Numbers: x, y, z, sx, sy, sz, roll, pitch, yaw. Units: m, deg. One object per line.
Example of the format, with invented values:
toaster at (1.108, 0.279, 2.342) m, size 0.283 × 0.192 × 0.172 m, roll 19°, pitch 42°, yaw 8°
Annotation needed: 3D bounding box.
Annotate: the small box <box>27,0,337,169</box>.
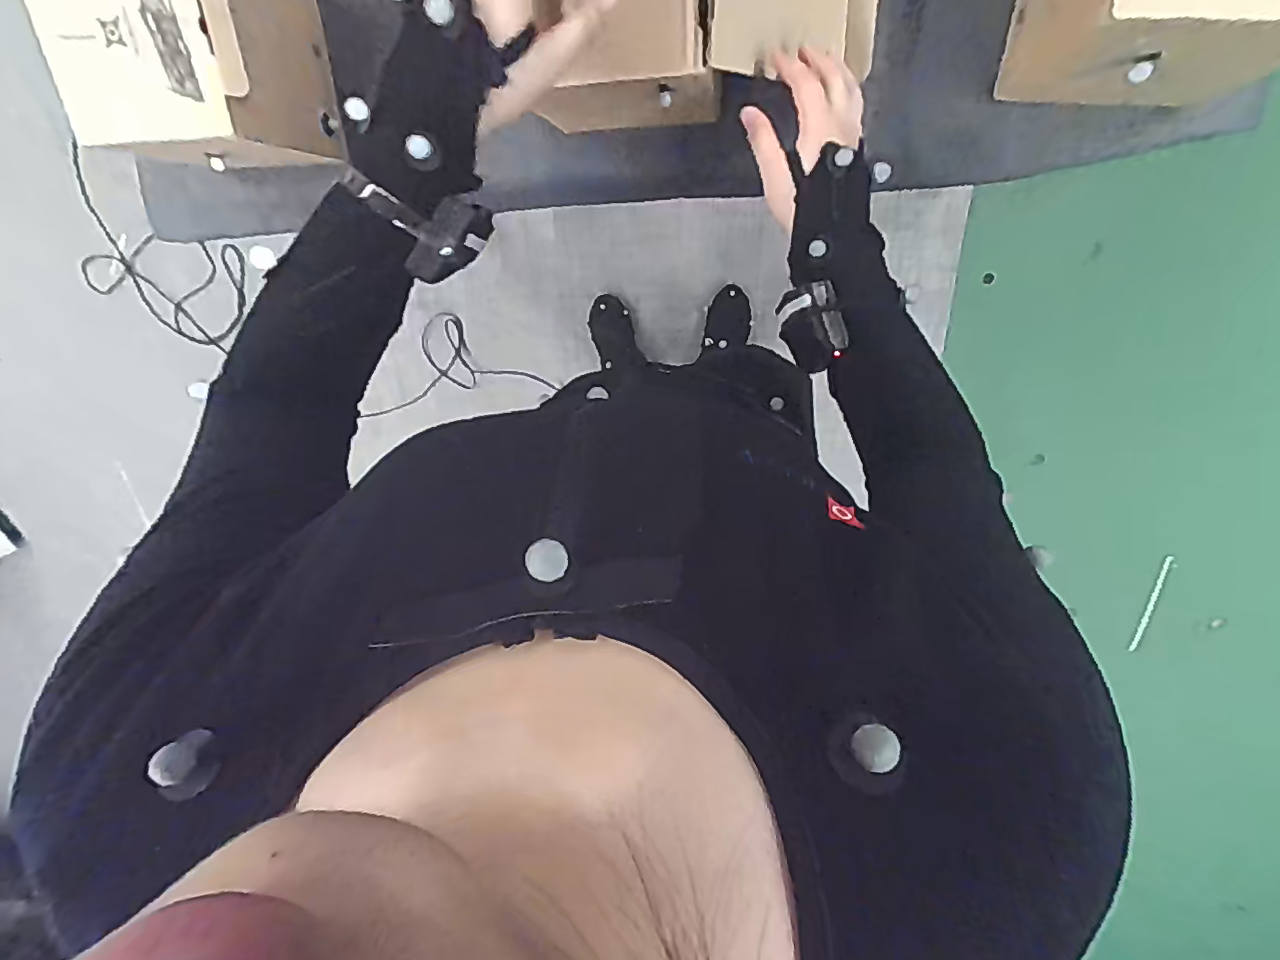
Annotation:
small box at (-0.443, -0.422, 0.552) m, size 0.179 × 0.176 × 0.168 m, roll 2°, pitch 114°, yaw 8°
